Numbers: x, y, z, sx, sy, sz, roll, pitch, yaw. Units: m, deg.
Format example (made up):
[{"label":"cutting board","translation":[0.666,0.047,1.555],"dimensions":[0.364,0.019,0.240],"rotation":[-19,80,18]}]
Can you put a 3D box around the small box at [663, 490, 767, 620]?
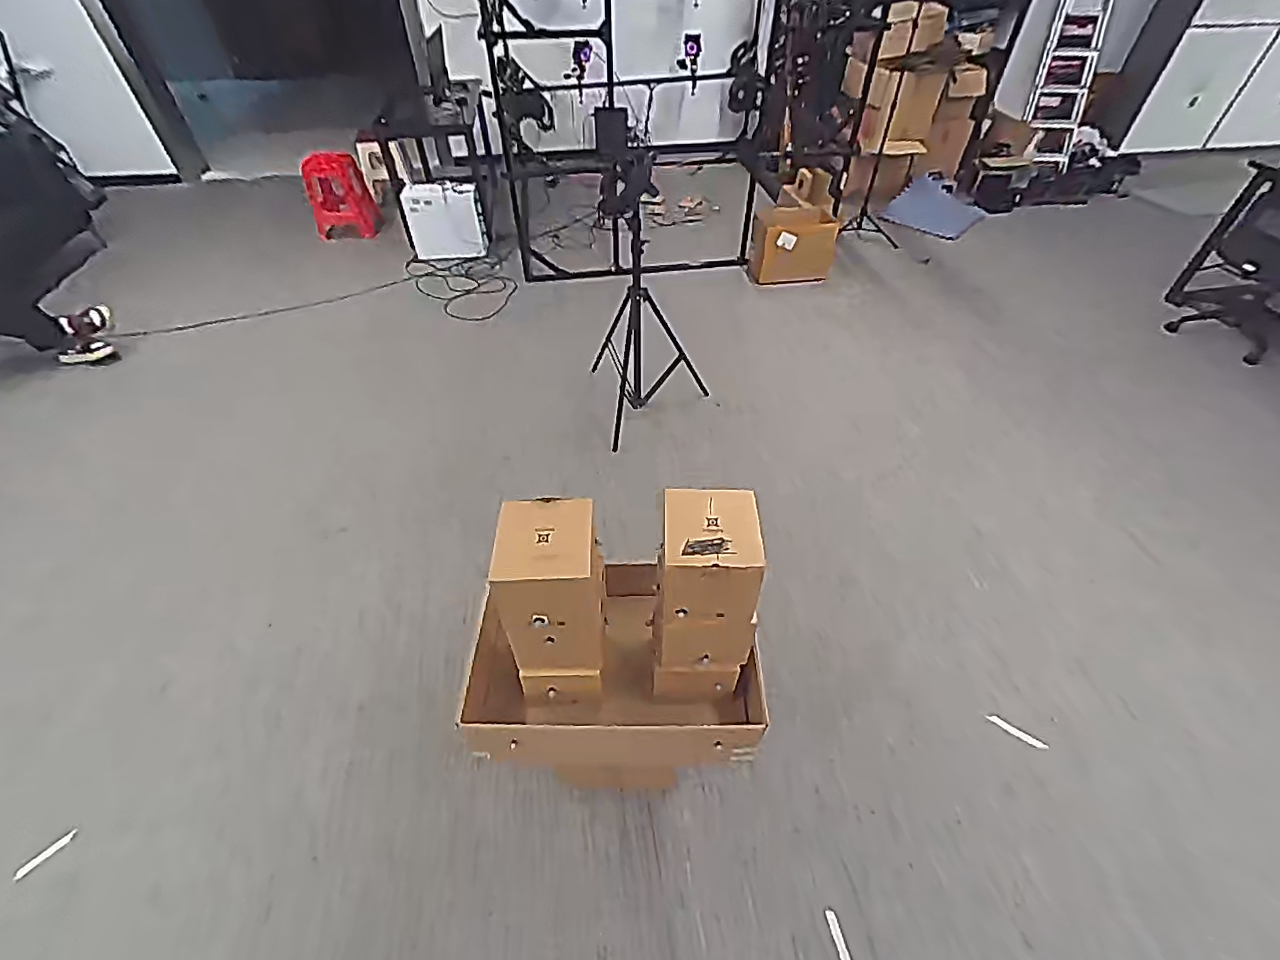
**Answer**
[{"label":"small box","translation":[0.127,0.137,0.977],"dimensions":[0.168,0.176,0.179],"rotation":[1,45,1]}]

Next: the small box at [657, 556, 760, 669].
[{"label":"small box","translation":[0.128,0.265,1.085],"dimensions":[0.179,0.176,0.168],"rotation":[-2,46,-1]}]

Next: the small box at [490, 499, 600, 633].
[{"label":"small box","translation":[-0.159,0.154,0.967],"dimensions":[0.168,0.176,0.179],"rotation":[-2,45,-1]}]

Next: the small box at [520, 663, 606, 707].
[{"label":"small box","translation":[-0.161,0.389,1.197],"dimensions":[0.168,0.176,0.179],"rotation":[0,45,-2]}]

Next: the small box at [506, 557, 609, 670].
[{"label":"small box","translation":[-0.156,0.268,1.085],"dimensions":[0.179,0.176,0.168],"rotation":[1,46,-1]}]
